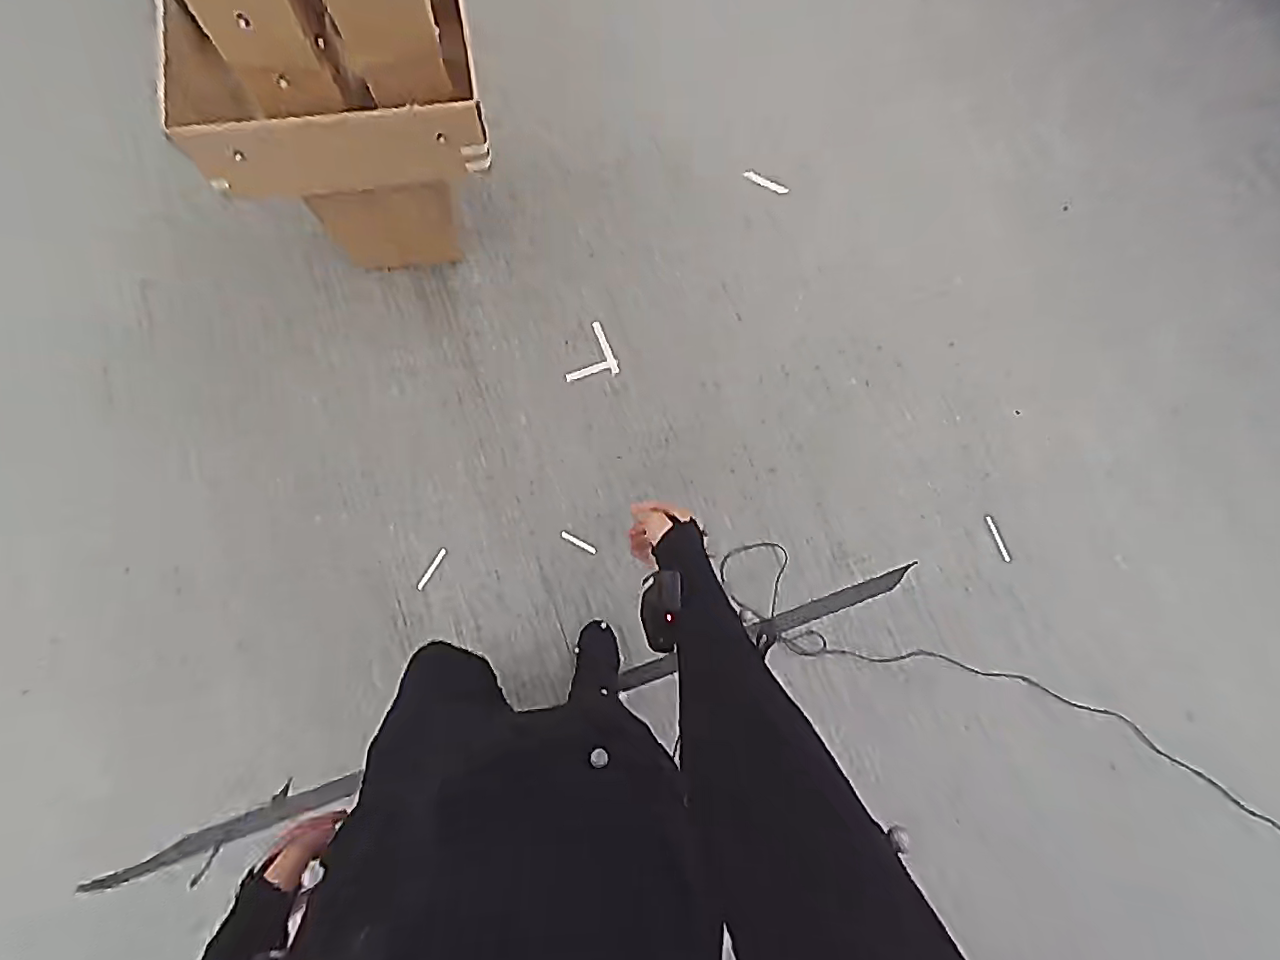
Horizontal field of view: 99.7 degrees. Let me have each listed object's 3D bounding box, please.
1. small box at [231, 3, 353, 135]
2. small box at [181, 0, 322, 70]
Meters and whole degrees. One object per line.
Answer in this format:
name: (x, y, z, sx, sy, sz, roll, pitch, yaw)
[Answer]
small box: (-0.737, -0.879, 1.162, 0.179, 0.176, 0.168, -9, 78, -7)
small box: (-0.716, -0.901, 1.000, 0.179, 0.176, 0.168, -4, 78, -5)
